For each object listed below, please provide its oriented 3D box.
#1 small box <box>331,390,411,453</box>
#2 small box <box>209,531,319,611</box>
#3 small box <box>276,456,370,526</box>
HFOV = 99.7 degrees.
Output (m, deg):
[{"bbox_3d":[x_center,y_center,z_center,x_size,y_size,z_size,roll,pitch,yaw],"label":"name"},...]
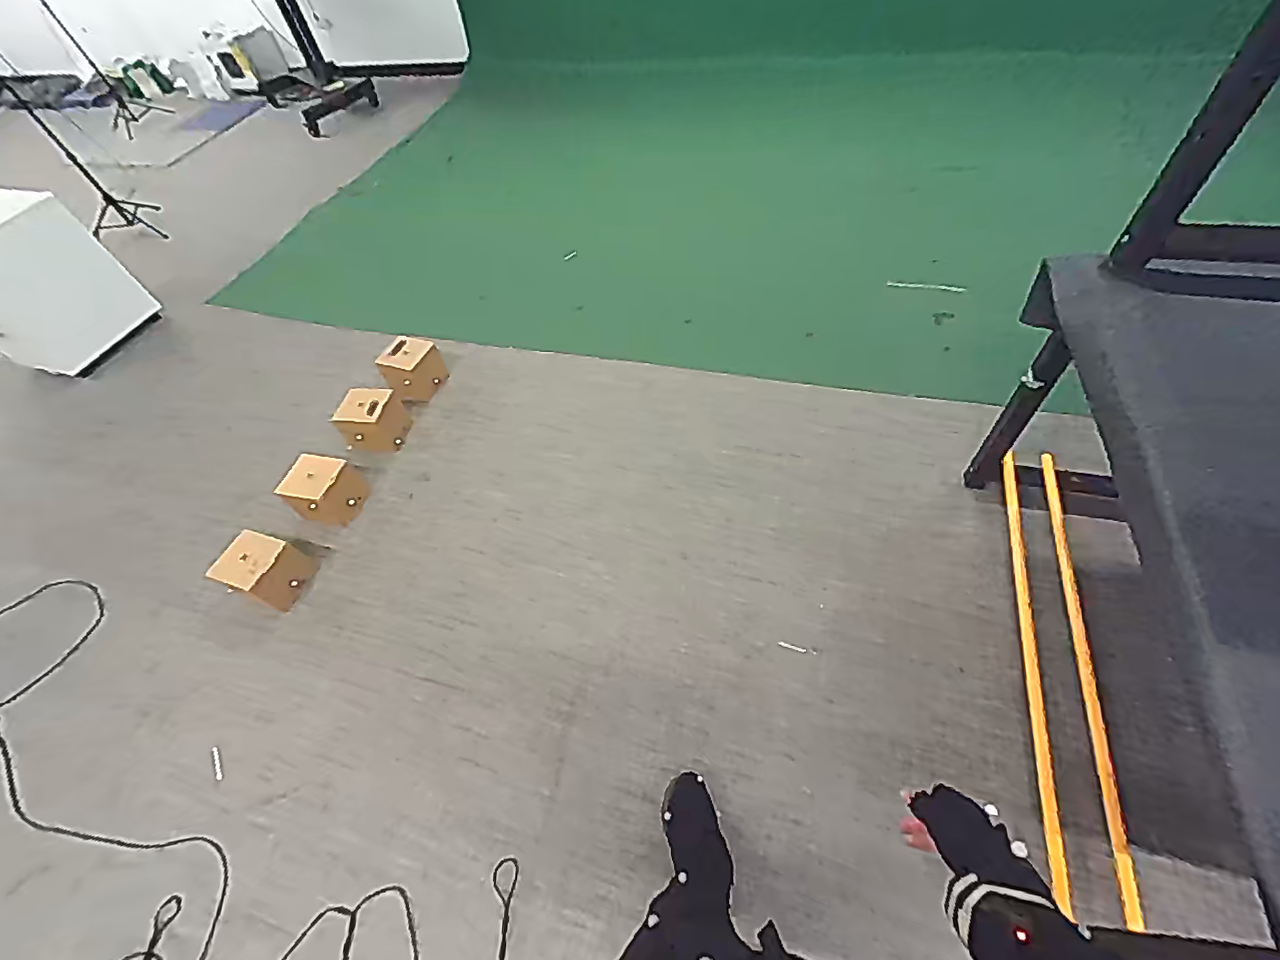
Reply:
[{"bbox_3d":[-0.983,-0.213,1.996,0.179,0.176,0.168,3,54,10],"label":"small box"},{"bbox_3d":[-1.141,0.282,1.652,0.179,0.176,0.168,13,57,16],"label":"small box"},{"bbox_3d":[-1.057,0.040,1.819,0.179,0.176,0.168,7,56,11],"label":"small box"}]
